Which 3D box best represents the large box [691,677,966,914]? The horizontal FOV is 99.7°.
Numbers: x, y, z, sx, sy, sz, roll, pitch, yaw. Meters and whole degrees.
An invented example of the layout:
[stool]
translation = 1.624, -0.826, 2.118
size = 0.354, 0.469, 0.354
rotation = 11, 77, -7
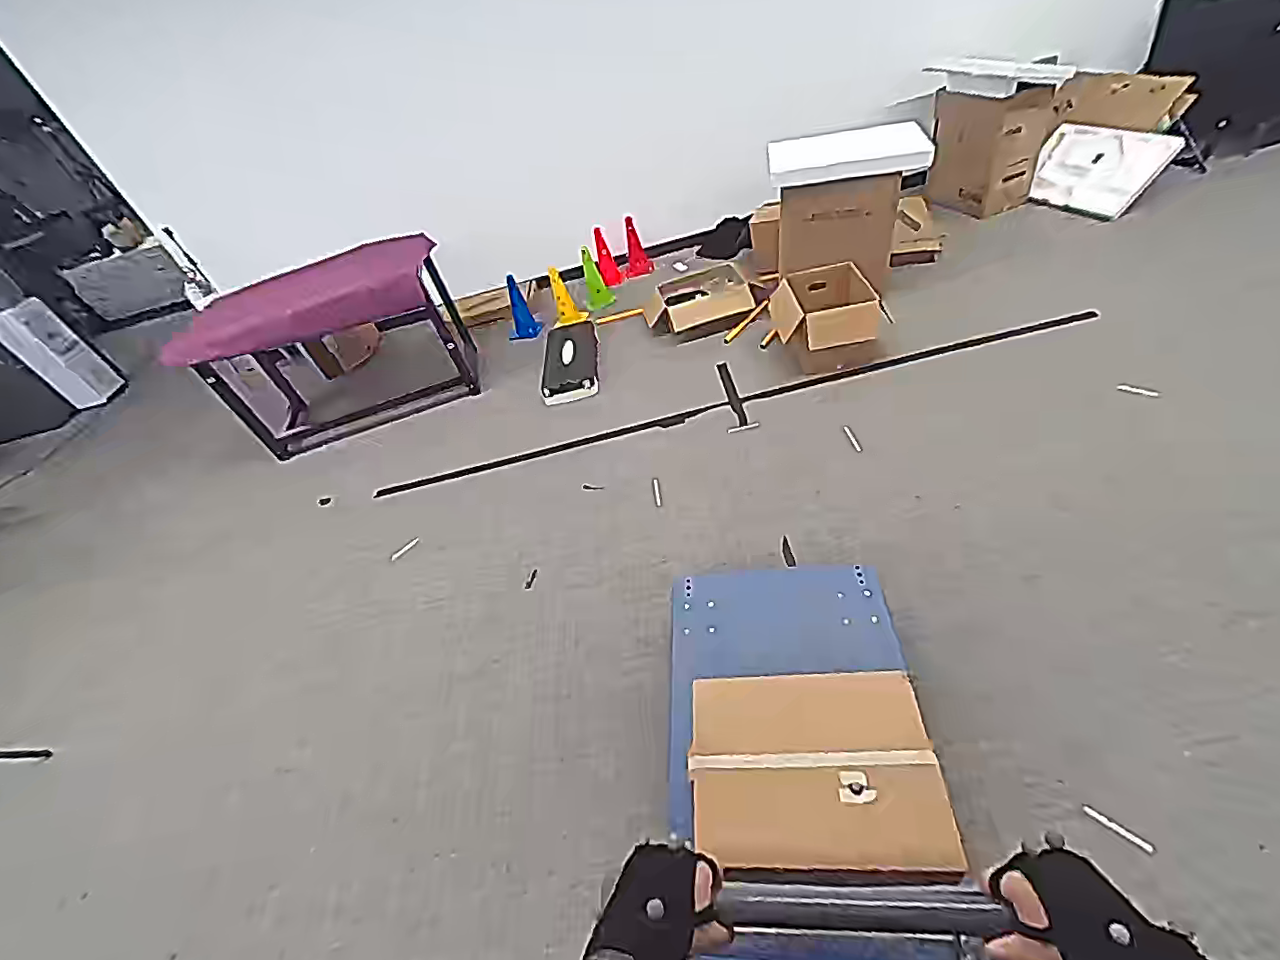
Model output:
[large box]
translation = 0.316, 0.598, 1.021
size = 0.408, 0.320, 0.320
rotation = -6, 44, 10
